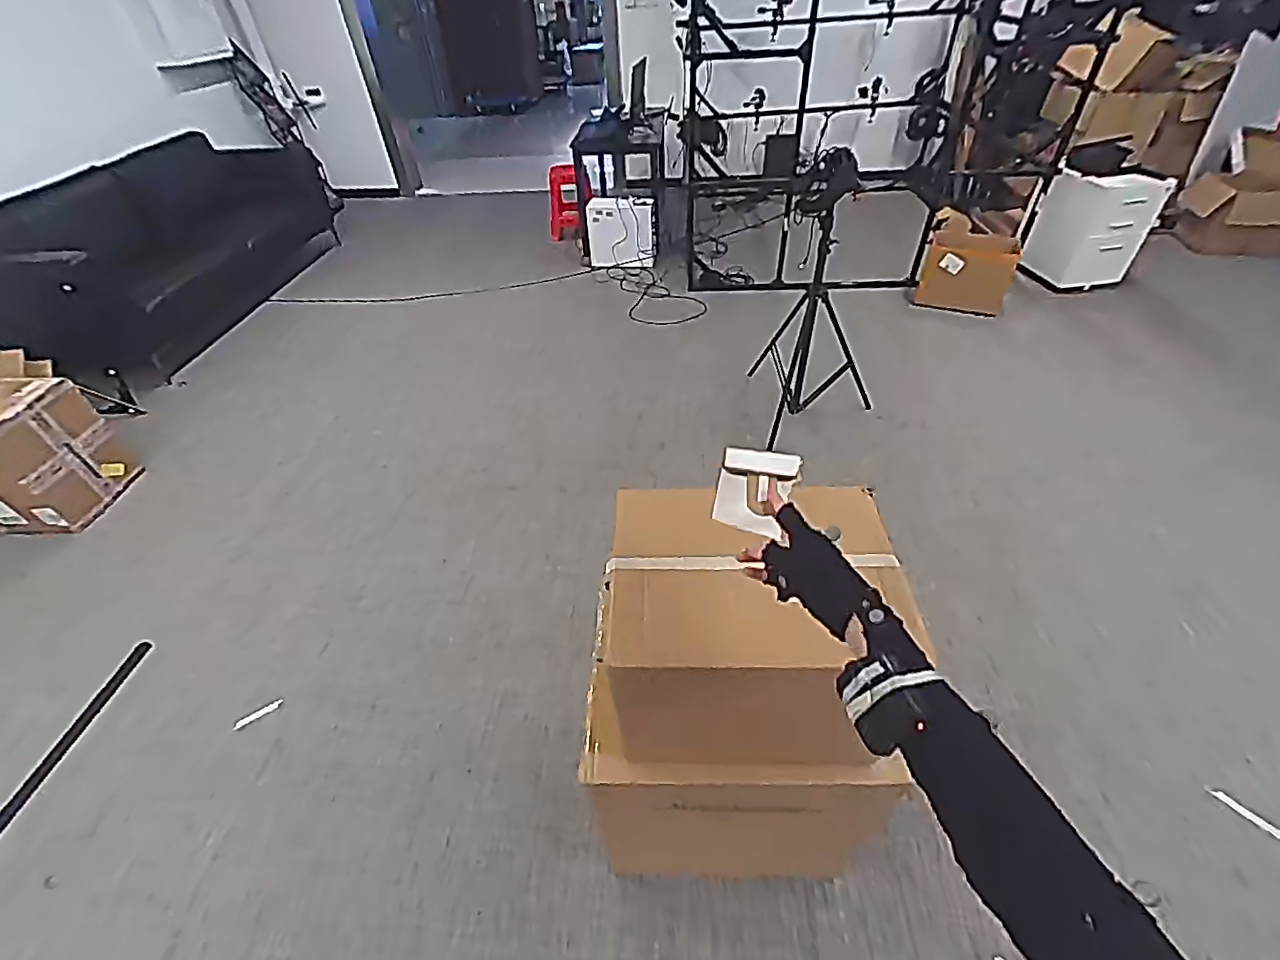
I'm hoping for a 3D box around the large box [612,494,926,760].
[{"bbox_3d":[0.167,0.240,0.886,0.408,0.320,0.320,-1,43,2],"label":"large box"}]
